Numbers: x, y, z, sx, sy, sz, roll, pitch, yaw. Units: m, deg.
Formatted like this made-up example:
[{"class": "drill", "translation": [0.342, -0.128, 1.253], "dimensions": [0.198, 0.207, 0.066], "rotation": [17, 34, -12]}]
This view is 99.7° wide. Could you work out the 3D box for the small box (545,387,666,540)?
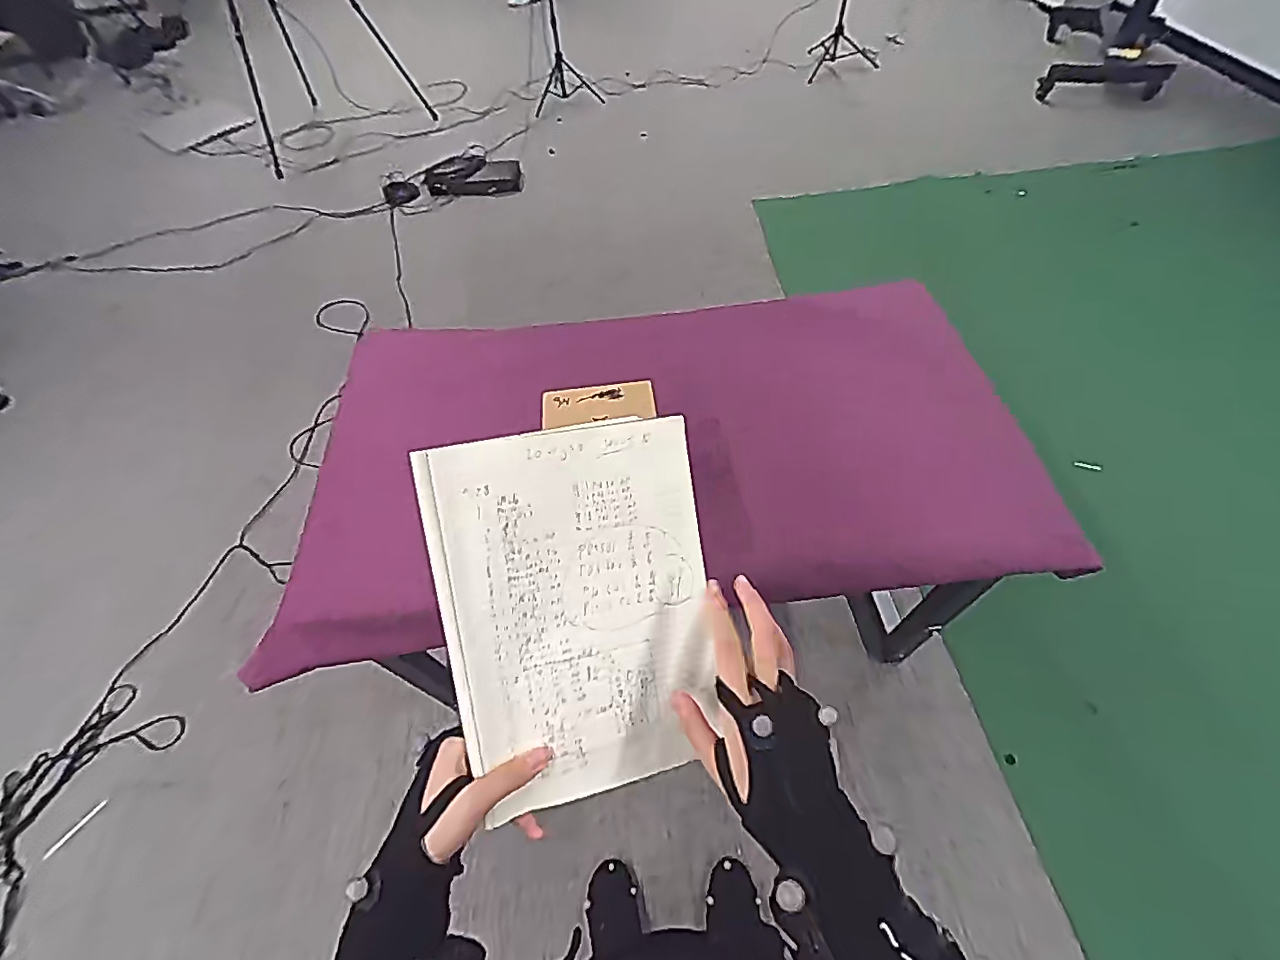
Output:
[{"class": "small box", "translation": [-0.049, -0.018, 0.839], "dimensions": [0.168, 0.176, 0.179], "rotation": [-6, 56, -1]}]
